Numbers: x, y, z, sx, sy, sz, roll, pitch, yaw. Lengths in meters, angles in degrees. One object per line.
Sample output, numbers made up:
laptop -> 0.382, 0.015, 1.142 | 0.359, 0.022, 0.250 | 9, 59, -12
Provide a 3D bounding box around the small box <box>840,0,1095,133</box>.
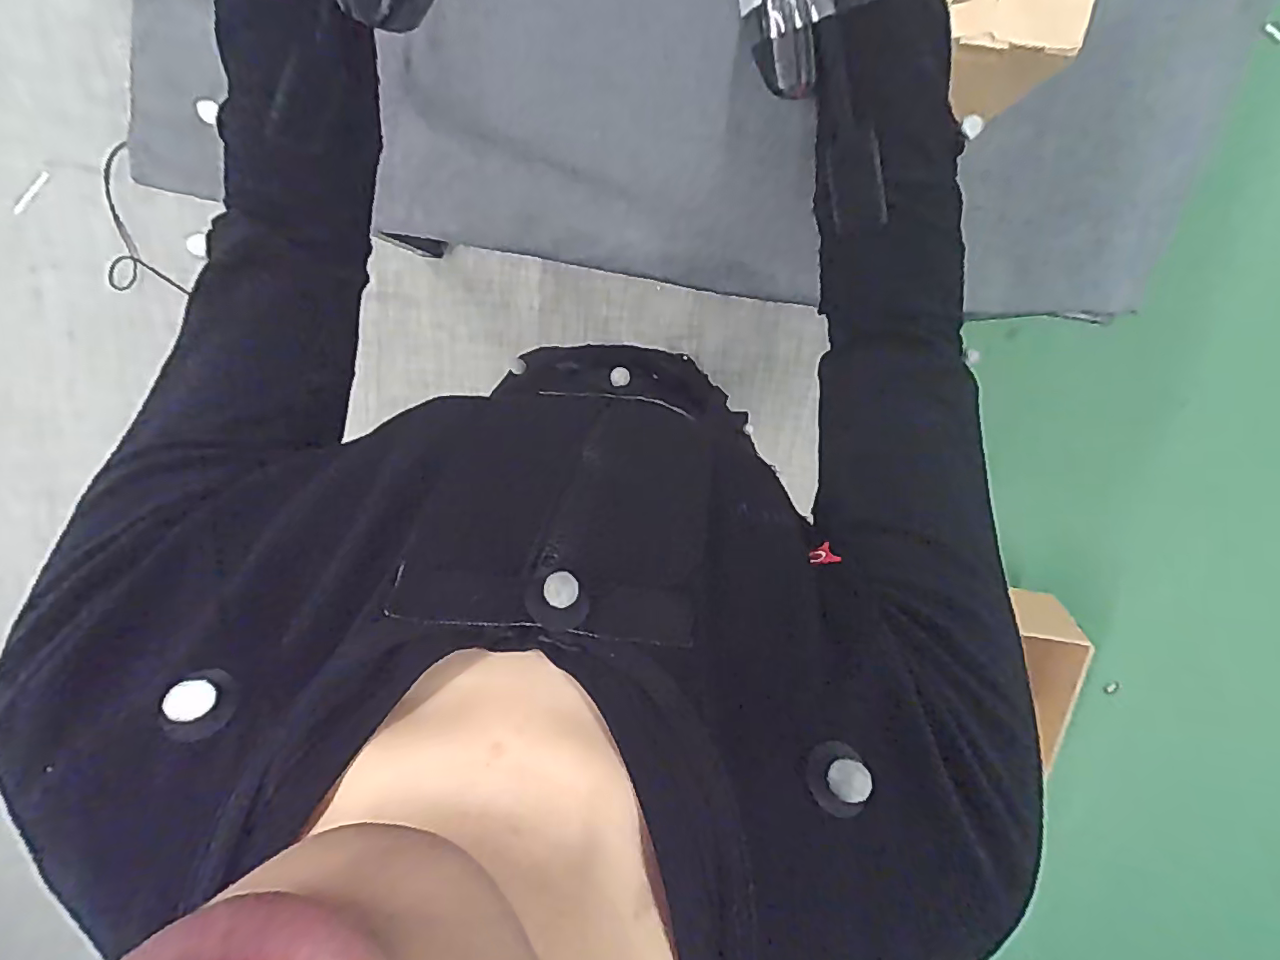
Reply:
small box -> 0.315, -0.480, 0.532 | 0.168, 0.176, 0.179 | 7, 103, 0
